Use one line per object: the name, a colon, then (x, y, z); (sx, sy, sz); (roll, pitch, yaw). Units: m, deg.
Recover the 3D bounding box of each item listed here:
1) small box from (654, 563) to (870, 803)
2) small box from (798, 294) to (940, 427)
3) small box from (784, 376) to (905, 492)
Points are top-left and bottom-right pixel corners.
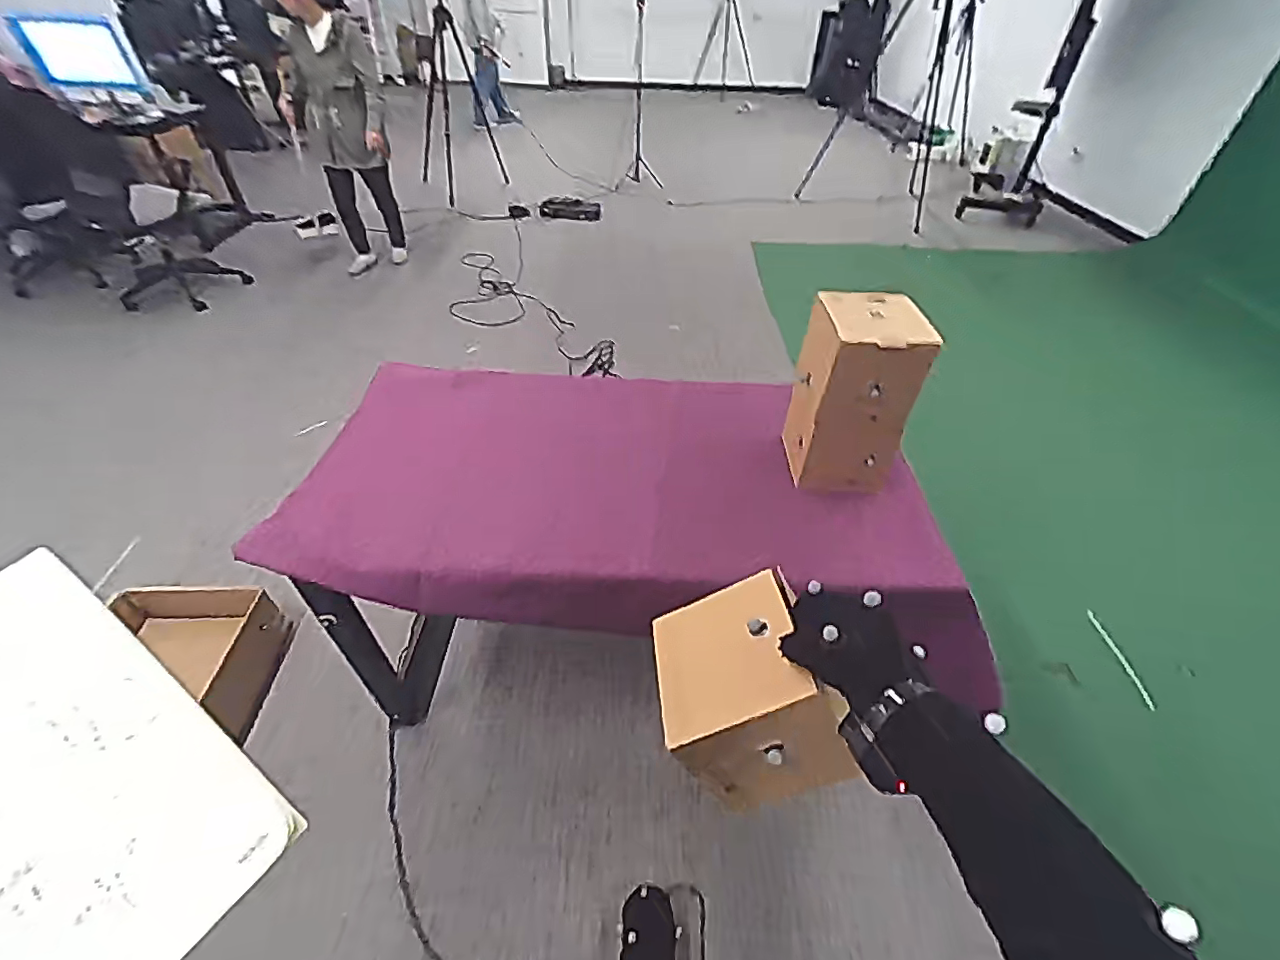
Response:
small box: (0.130, 0.238, 0.630); (0.176, 0.168, 0.179); (-28, 29, 12)
small box: (0.393, -0.211, 0.964); (0.168, 0.176, 0.179); (3, 44, -1)
small box: (0.394, -0.093, 1.078); (0.168, 0.176, 0.179); (3, 43, 0)
